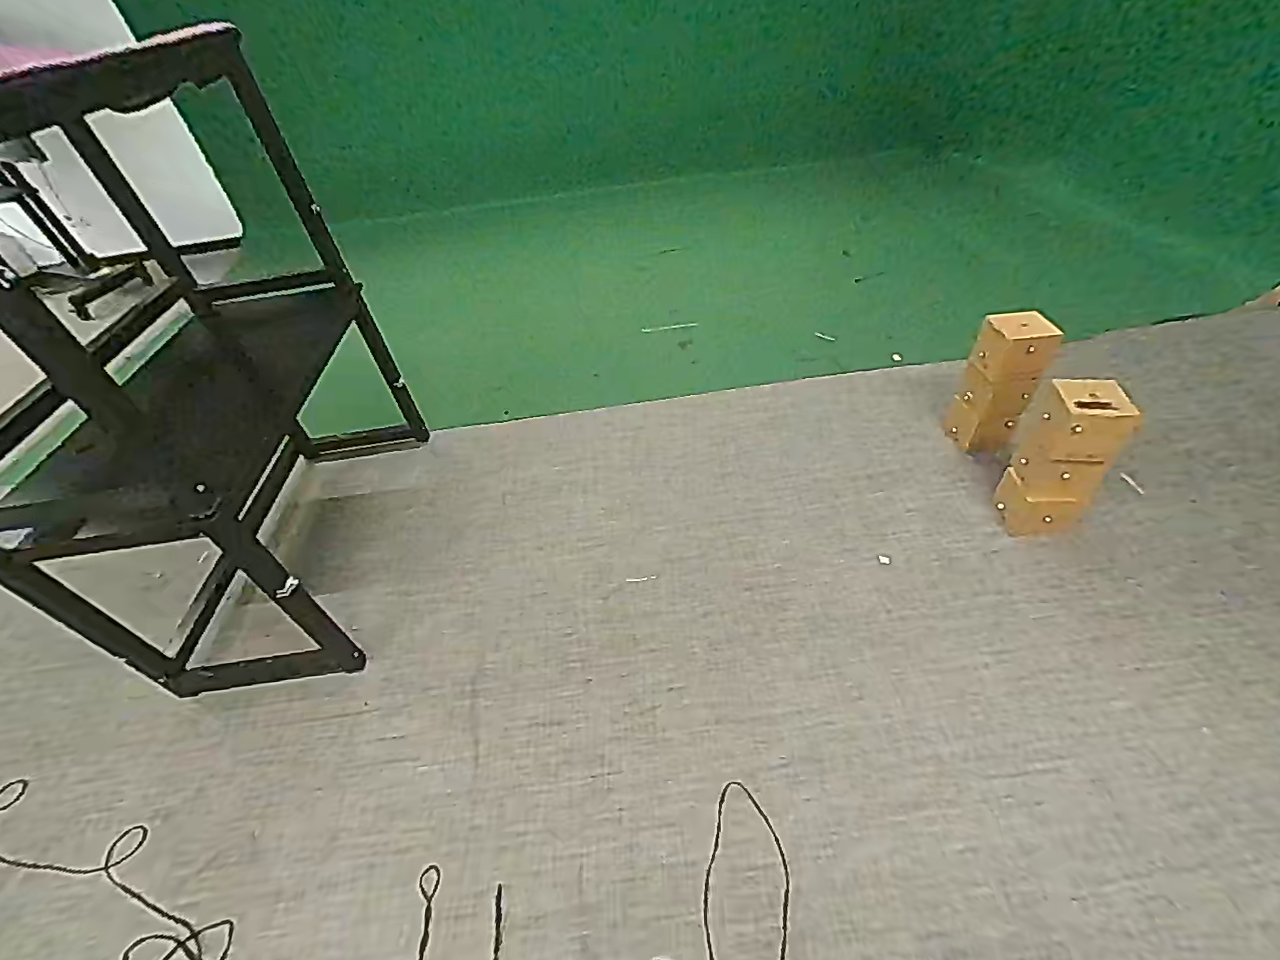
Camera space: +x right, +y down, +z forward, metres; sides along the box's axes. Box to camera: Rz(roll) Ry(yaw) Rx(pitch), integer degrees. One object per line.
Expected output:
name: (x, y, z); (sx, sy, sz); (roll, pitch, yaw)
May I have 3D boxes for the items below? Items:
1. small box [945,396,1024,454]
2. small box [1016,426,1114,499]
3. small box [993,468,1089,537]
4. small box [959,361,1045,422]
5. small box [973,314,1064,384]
small box: (1.323, -0.222, 2.093); (0.179, 0.176, 0.168); (-10, 44, -3)
small box: (1.309, -0.054, 1.687); (0.179, 0.176, 0.168); (2, 44, 11)
small box: (1.314, 0.076, 1.786); (0.179, 0.176, 0.168); (-1, 44, 8)
small box: (1.313, -0.334, 1.976); (0.179, 0.176, 0.168); (-10, 43, -3)
small box: (1.294, -0.450, 1.864); (0.179, 0.176, 0.168); (-6, 44, 2)
